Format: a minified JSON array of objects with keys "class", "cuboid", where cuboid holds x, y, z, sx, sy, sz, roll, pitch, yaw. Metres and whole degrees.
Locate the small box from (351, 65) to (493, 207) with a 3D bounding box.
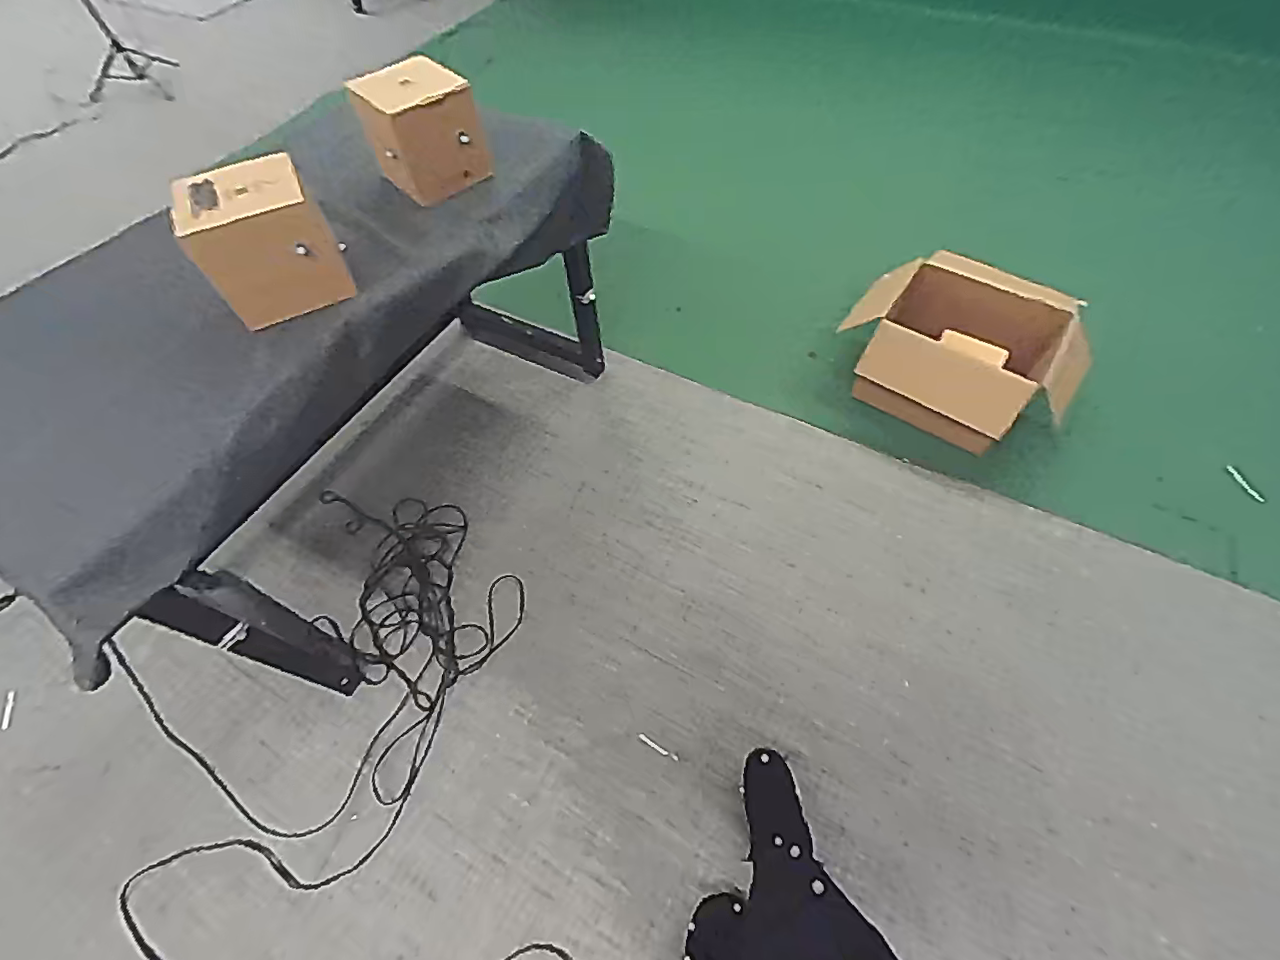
[{"class":"small box","cuboid":[-0.411,-0.660,1.048,0.168,0.176,0.179,-38,62,-21]}]
